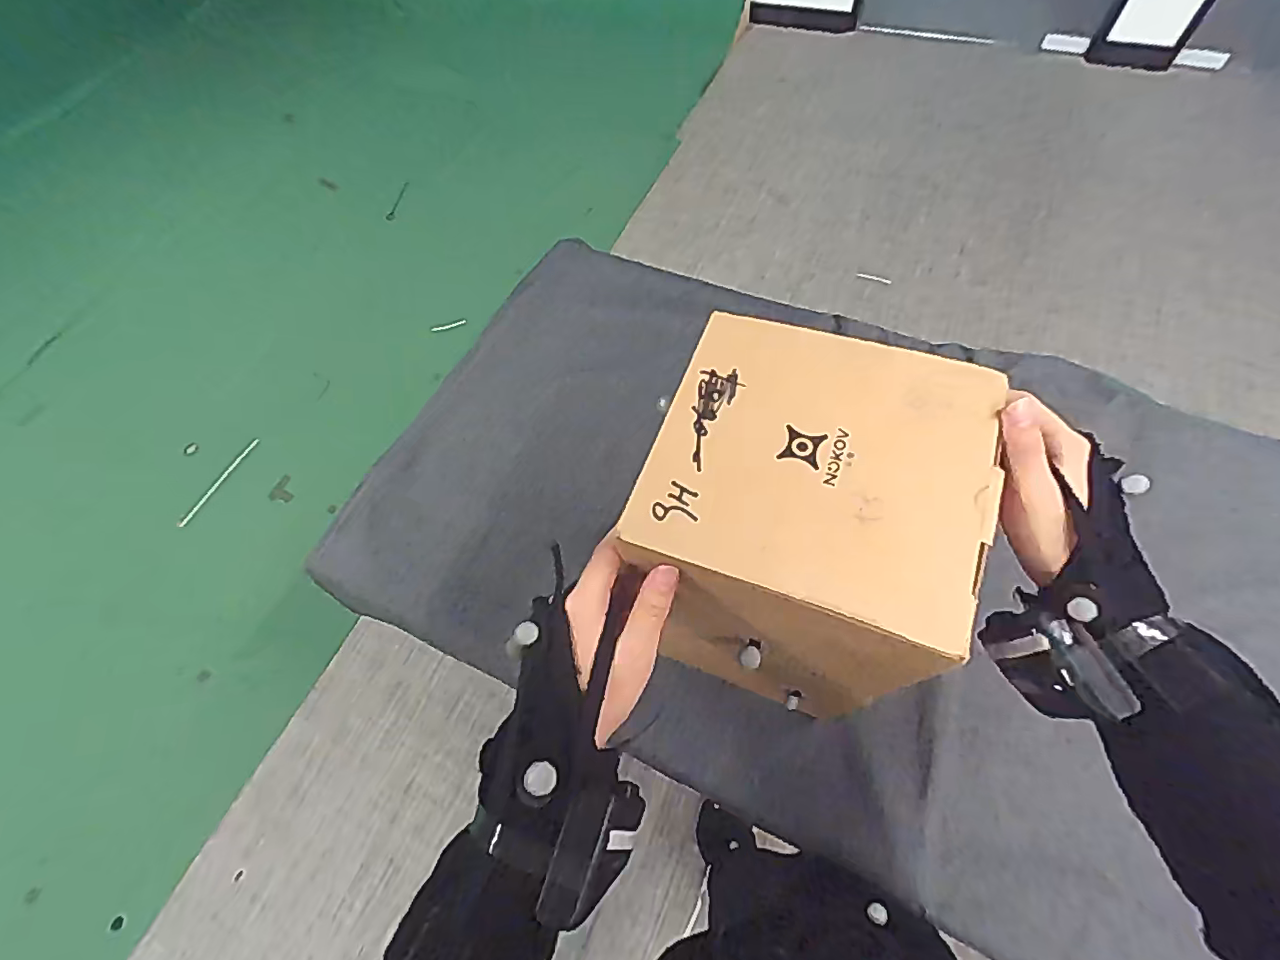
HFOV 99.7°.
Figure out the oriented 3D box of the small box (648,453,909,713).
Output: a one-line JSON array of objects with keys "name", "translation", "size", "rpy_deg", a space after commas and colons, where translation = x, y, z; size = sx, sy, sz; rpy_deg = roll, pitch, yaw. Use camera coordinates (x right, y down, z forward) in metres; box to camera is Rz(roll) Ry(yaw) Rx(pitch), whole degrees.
[{"name": "small box", "translation": [0.122, 0.105, 0.510], "size": [0.179, 0.176, 0.168], "rpy_deg": [18, 64, 15]}]
